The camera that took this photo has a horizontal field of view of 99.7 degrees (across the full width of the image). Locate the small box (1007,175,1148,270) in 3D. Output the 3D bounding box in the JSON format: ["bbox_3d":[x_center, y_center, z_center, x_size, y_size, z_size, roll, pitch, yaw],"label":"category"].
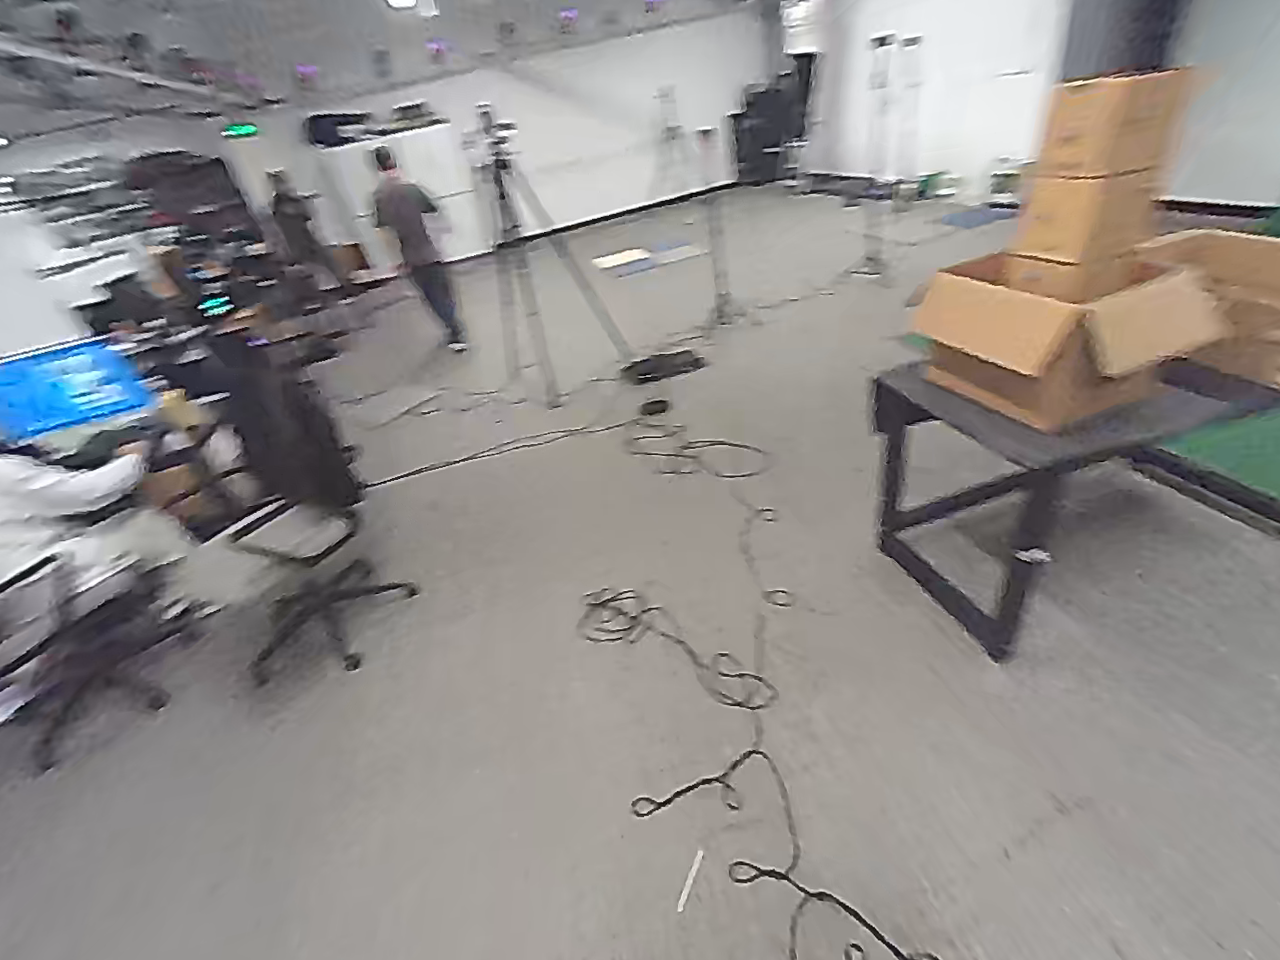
[{"bbox_3d":[0.971,-0.584,1.222,0.179,0.176,0.168,-13,33,-10],"label":"small box"}]

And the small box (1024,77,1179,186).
[{"bbox_3d":[0.951,-0.723,1.137,0.179,0.176,0.168,-13,33,-8],"label":"small box"}]
